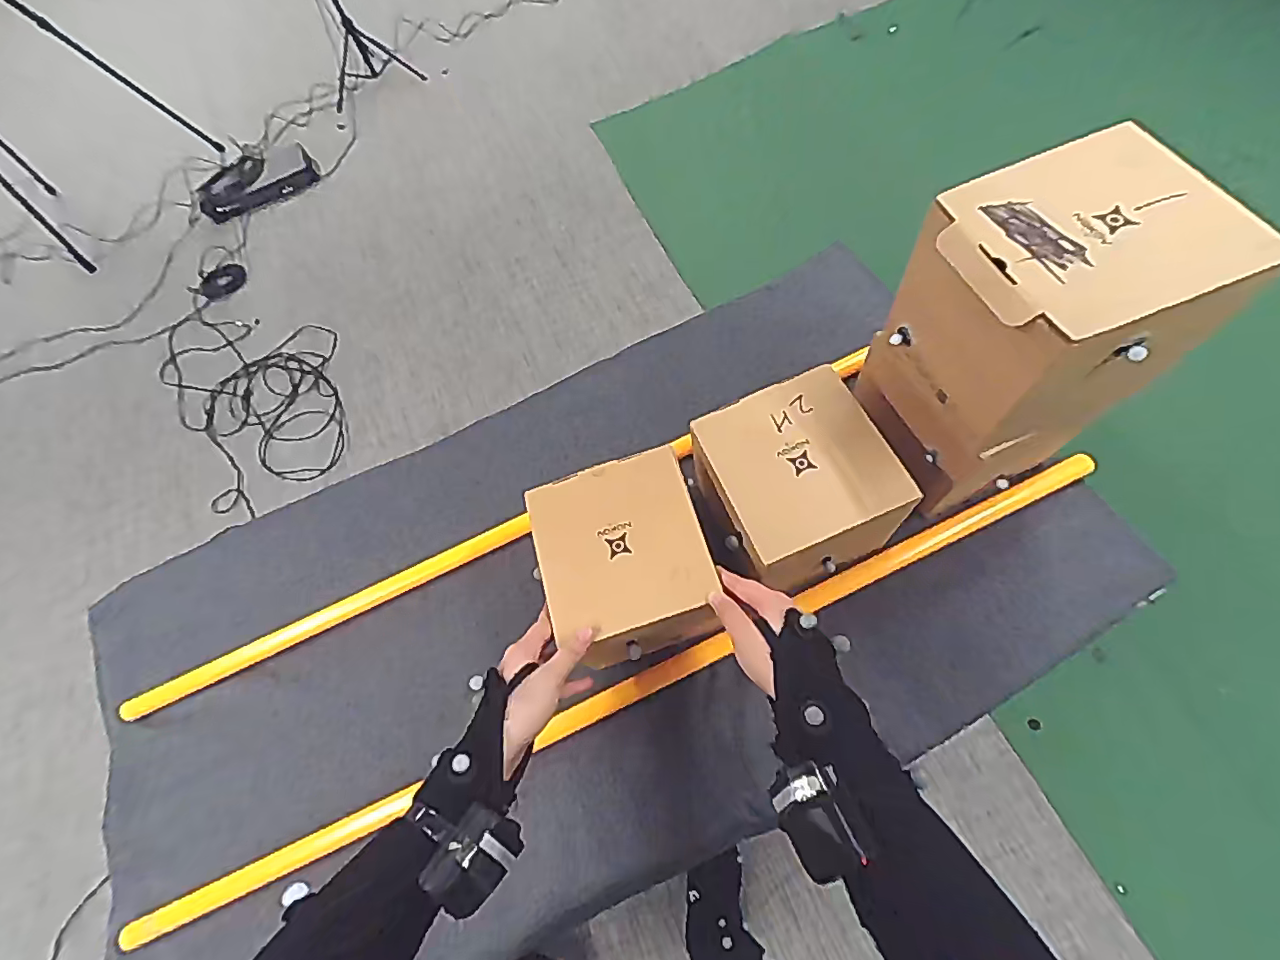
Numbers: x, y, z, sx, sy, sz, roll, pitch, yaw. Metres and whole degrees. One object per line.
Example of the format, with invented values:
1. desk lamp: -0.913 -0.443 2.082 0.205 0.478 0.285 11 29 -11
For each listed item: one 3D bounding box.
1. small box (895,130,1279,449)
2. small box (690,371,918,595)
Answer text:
1. small box: 0.350 -0.151 0.472 0.179 0.176 0.168 -21 65 -1
2. small box: 0.170 0.017 0.607 0.168 0.176 0.179 -23 64 0
